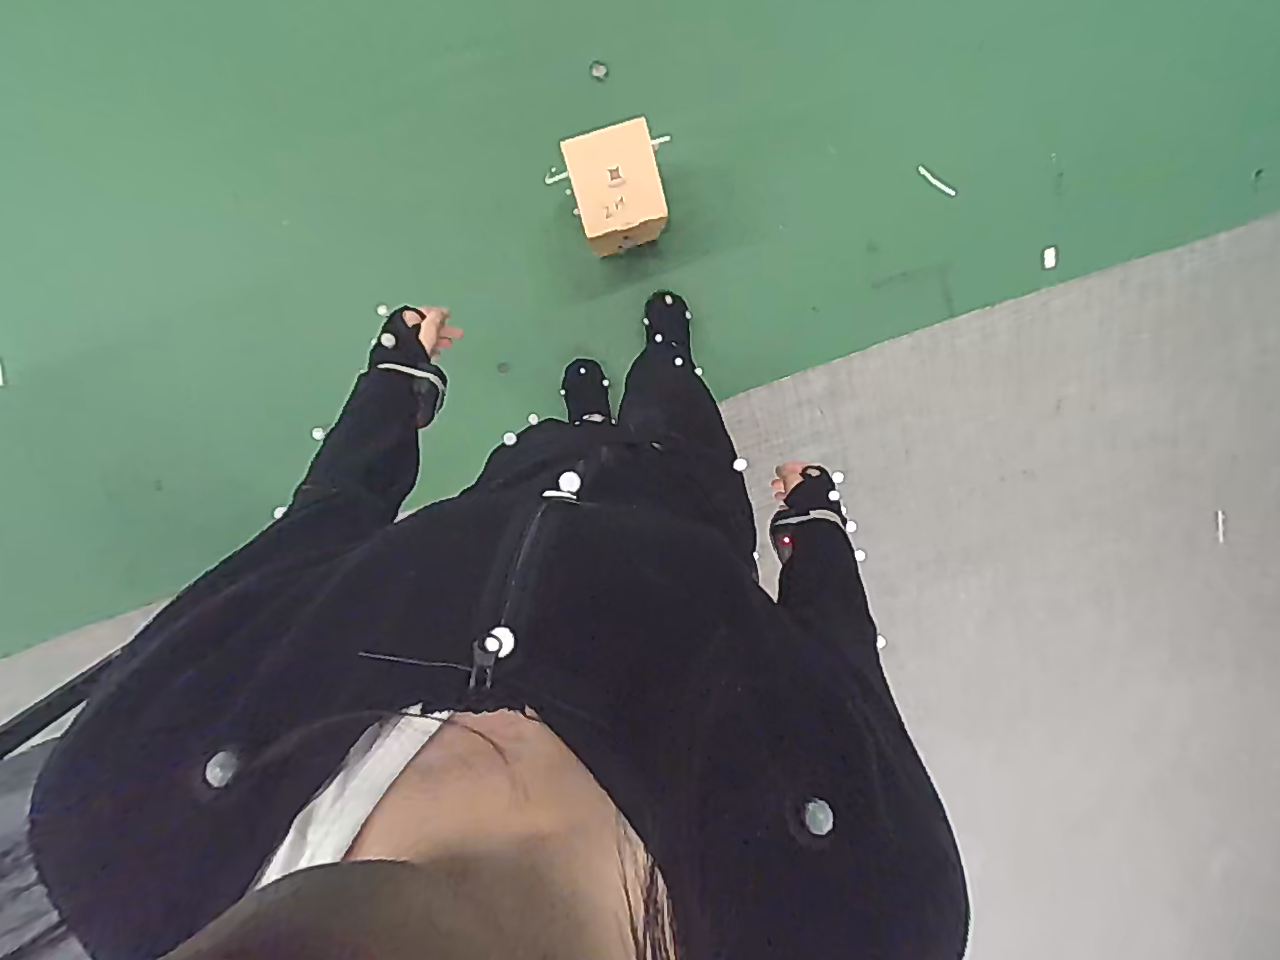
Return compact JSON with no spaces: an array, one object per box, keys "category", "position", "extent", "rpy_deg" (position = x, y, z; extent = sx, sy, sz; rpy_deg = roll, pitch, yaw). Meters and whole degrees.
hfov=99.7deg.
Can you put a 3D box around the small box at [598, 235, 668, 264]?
[{"category":"small box","position":[-0.039,-0.619,1.267],"extent":[0.168,0.176,0.179],"rpy_deg":[-19,104,4]}]

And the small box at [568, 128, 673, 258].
[{"category":"small box","position":[-0.038,-0.575,1.107],"extent":[0.168,0.176,0.179],"rpy_deg":[-16,105,3]}]
